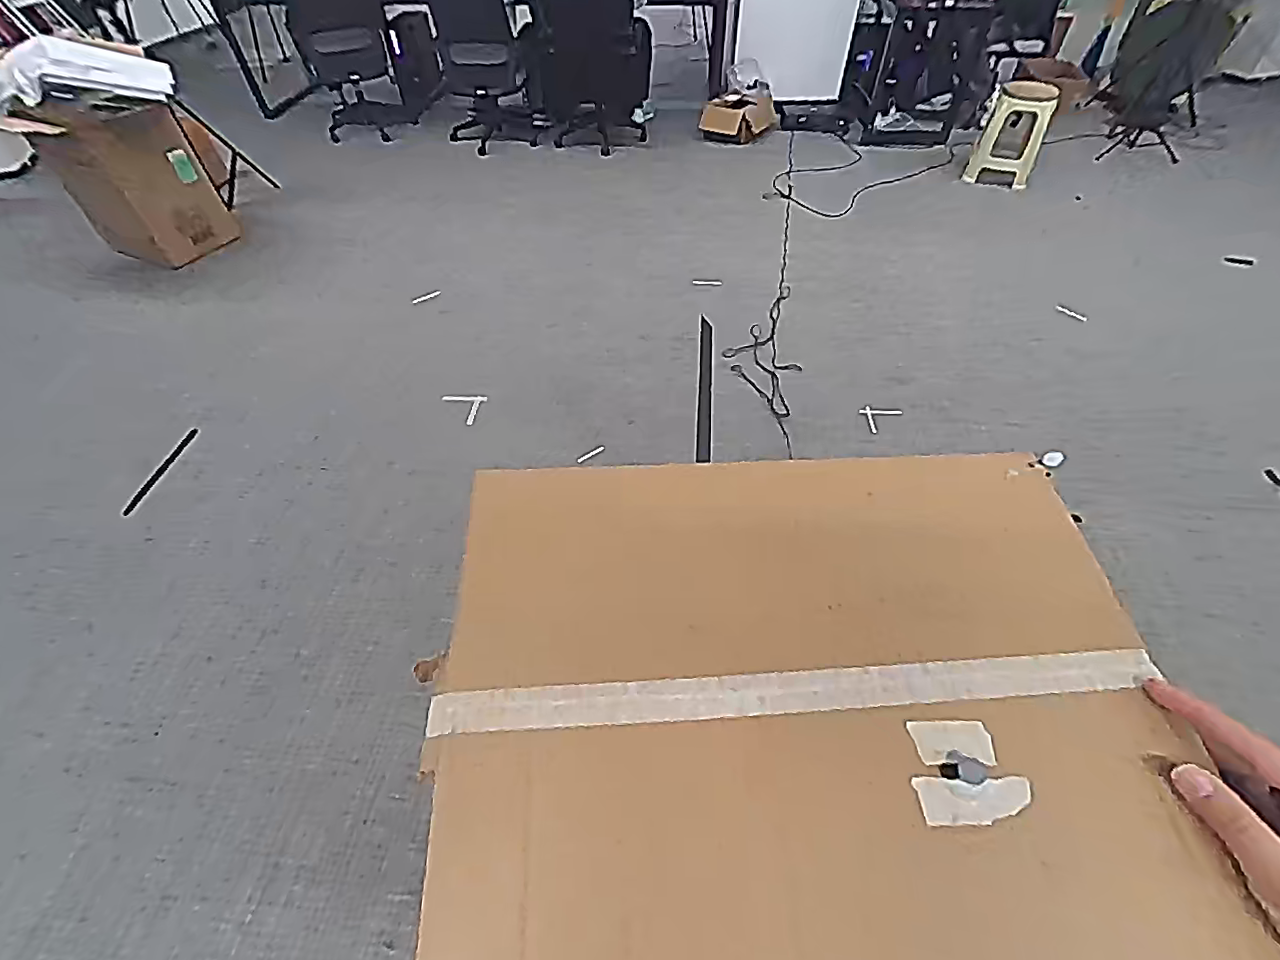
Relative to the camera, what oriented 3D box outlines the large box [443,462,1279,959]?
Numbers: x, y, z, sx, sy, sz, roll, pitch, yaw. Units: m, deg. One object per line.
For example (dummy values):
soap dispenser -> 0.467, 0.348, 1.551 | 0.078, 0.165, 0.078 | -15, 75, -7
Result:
large box -> 0.092, 0.203, 0.440 | 0.408, 0.320, 0.320 | -2, 58, -4
